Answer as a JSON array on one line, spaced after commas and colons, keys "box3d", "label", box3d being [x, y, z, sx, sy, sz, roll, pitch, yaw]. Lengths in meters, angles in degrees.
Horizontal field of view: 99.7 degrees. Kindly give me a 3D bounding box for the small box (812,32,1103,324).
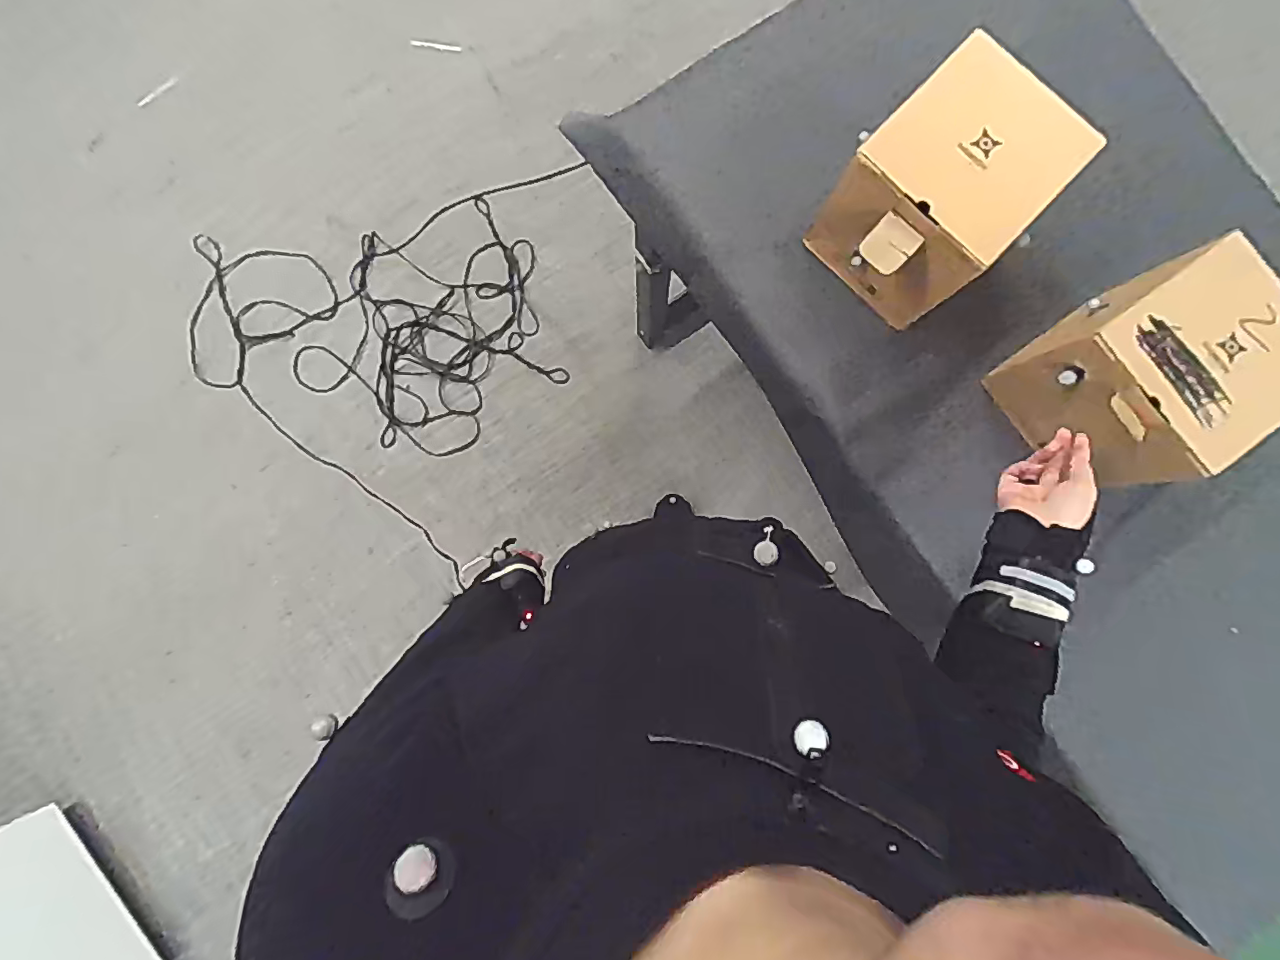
[{"box3d": [0.320, -0.306, 0.587, 0.168, 0.176, 0.179, 44, 87, 2], "label": "small box"}]
